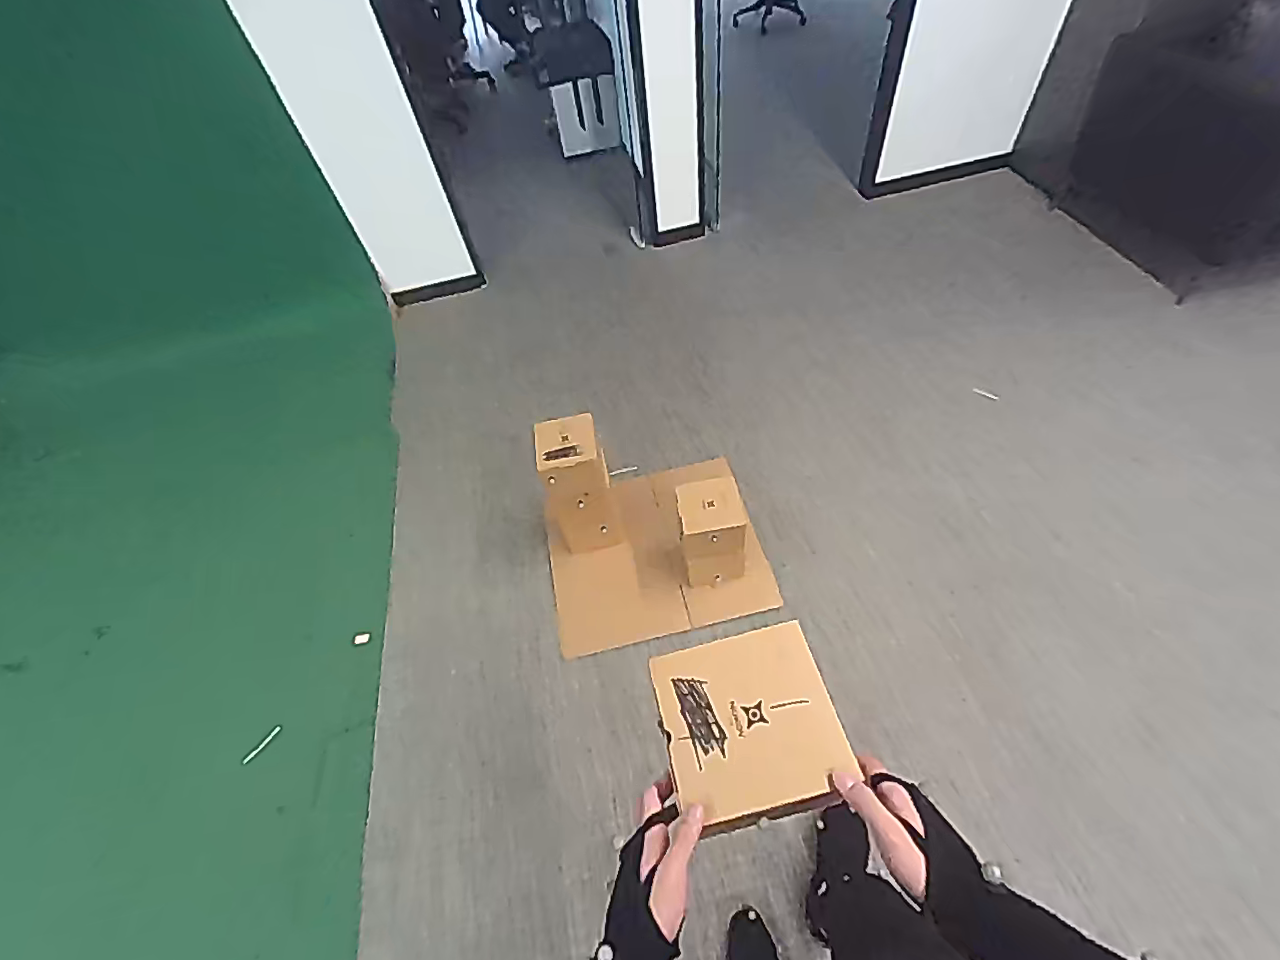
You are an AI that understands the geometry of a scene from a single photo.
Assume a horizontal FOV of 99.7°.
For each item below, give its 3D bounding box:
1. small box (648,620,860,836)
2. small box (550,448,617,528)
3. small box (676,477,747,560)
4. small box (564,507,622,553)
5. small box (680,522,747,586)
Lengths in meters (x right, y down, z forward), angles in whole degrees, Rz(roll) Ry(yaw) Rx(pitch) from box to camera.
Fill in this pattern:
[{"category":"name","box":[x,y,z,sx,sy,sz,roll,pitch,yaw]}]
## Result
[{"category":"small box","box":[0.120,0.286,0.613,0.179,0.176,0.168,-15,53,-1]},{"category":"small box","box":[-0.172,0.028,1.684,0.179,0.176,0.168,-13,54,-1]},{"category":"small box","box":[0.206,0.117,1.567,0.179,0.176,0.168,-9,54,1]},{"category":"small box","box":[-0.160,0.123,1.813,0.179,0.176,0.168,-13,53,-1]},{"category":"small box","box":[0.226,0.215,1.697,0.179,0.176,0.168,-11,53,0]}]
